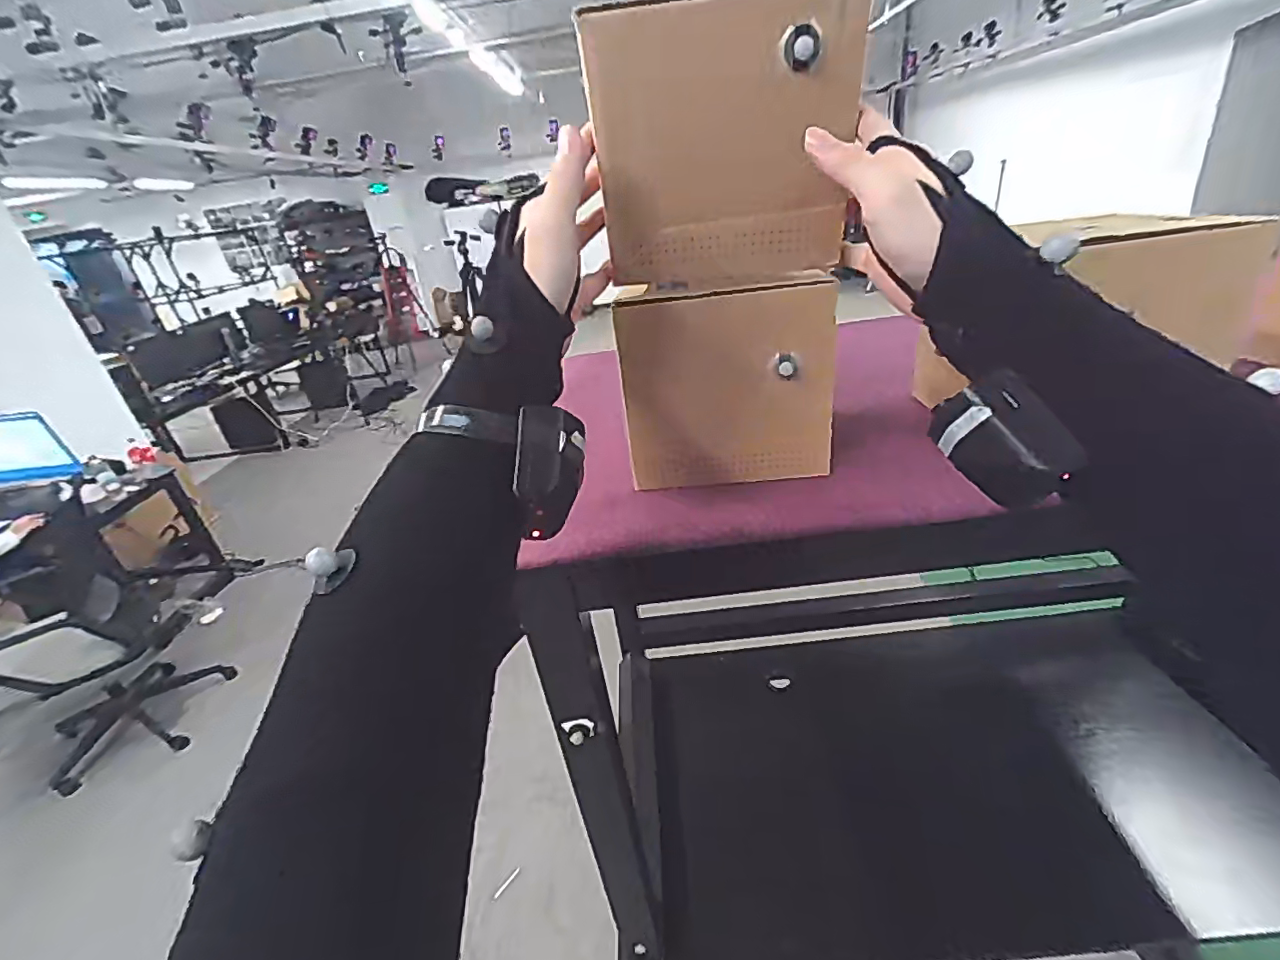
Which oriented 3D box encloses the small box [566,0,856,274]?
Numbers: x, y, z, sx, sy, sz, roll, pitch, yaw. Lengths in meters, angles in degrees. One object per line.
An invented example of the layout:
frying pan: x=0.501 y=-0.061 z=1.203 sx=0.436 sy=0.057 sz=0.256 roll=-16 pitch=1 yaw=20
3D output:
small box: x=0.055 y=-0.271 z=0.419 sx=0.179 sy=0.176 sz=0.168 roll=-3 pitch=39 yaw=6

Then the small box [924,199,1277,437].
small box: x=0.375 y=-0.146 z=0.488 sx=0.179 sy=0.176 sz=0.168 roll=-5 pitch=27 yaw=7
